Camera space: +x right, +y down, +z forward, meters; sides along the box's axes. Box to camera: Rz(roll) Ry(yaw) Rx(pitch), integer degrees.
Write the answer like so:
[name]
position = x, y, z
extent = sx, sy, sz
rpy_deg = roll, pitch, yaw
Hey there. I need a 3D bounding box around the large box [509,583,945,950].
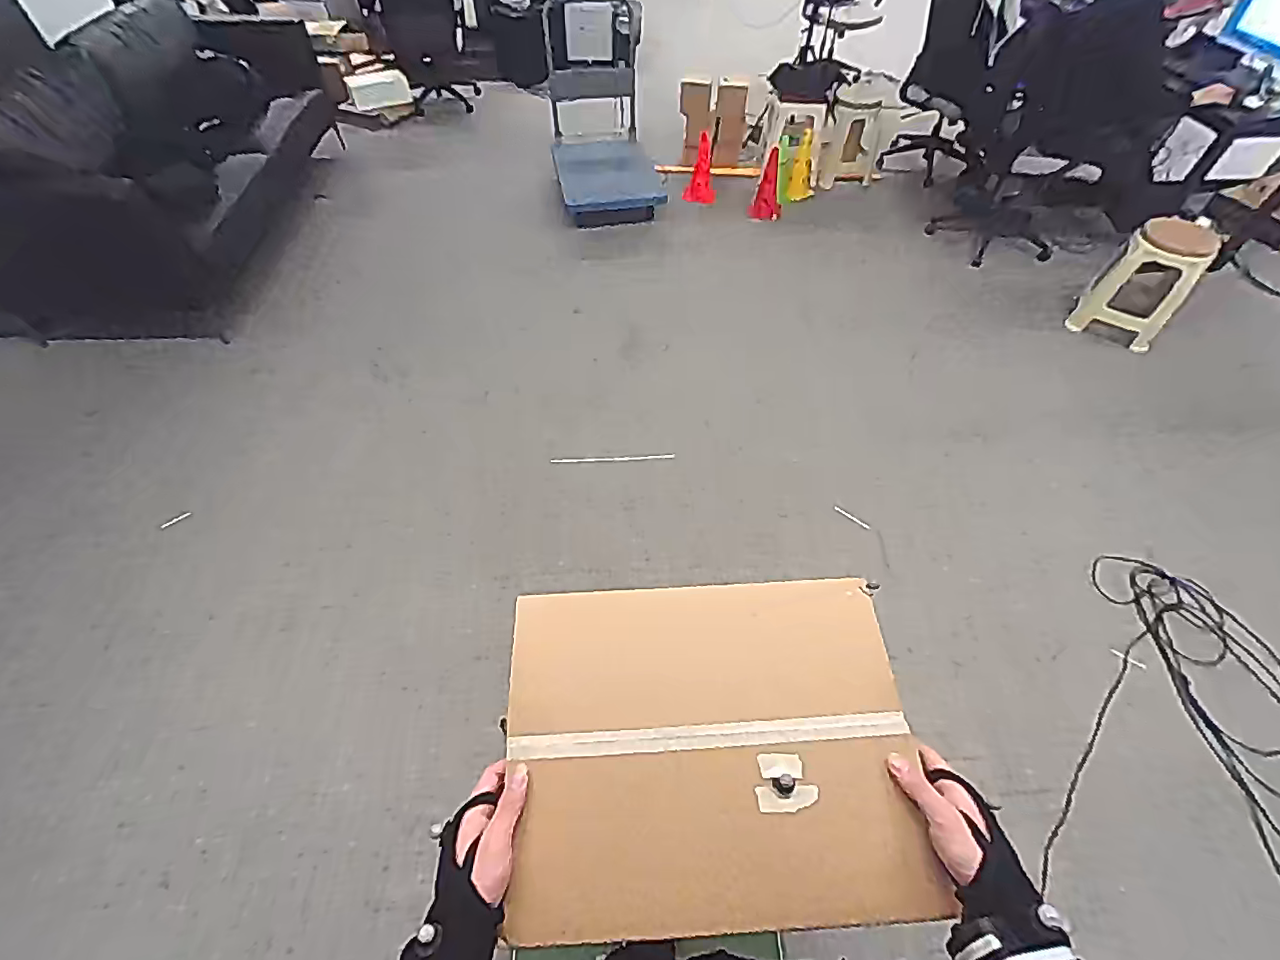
[large box]
position = 0.068, 0.343, 0.683
extent = 0.408, 0.320, 0.320
rpy_deg = -3, 60, -2
